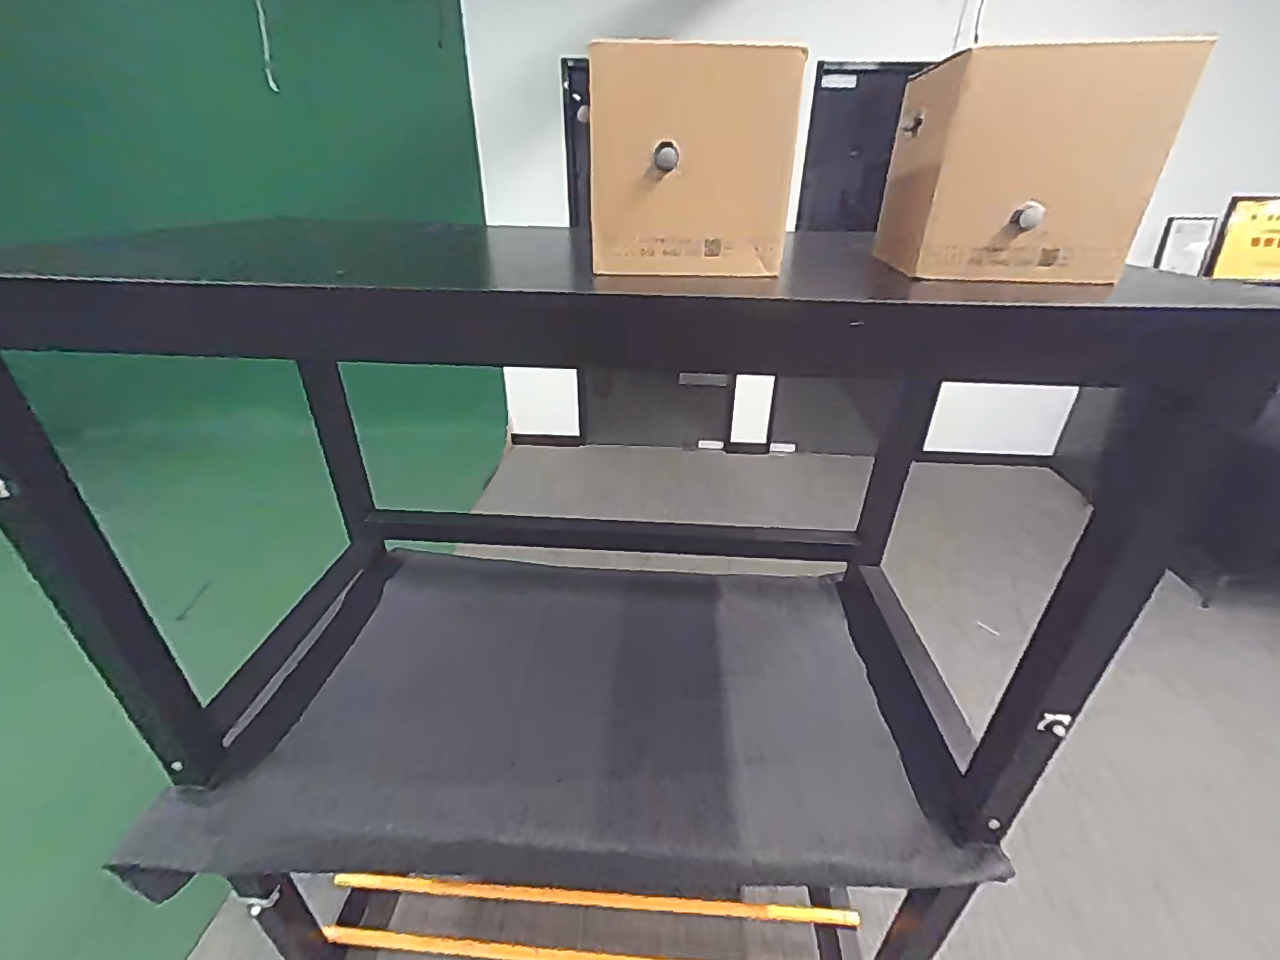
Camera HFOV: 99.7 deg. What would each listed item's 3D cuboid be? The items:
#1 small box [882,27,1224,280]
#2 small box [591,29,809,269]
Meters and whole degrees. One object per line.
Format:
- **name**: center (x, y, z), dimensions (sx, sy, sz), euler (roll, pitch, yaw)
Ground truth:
- **small box**: center (0.339, -0.289, 0.496), dimensions (0.168, 0.176, 0.179), euler (5, 30, 8)
- **small box**: center (0.045, -0.297, 0.508), dimensions (0.168, 0.176, 0.179), euler (0, 29, -1)
